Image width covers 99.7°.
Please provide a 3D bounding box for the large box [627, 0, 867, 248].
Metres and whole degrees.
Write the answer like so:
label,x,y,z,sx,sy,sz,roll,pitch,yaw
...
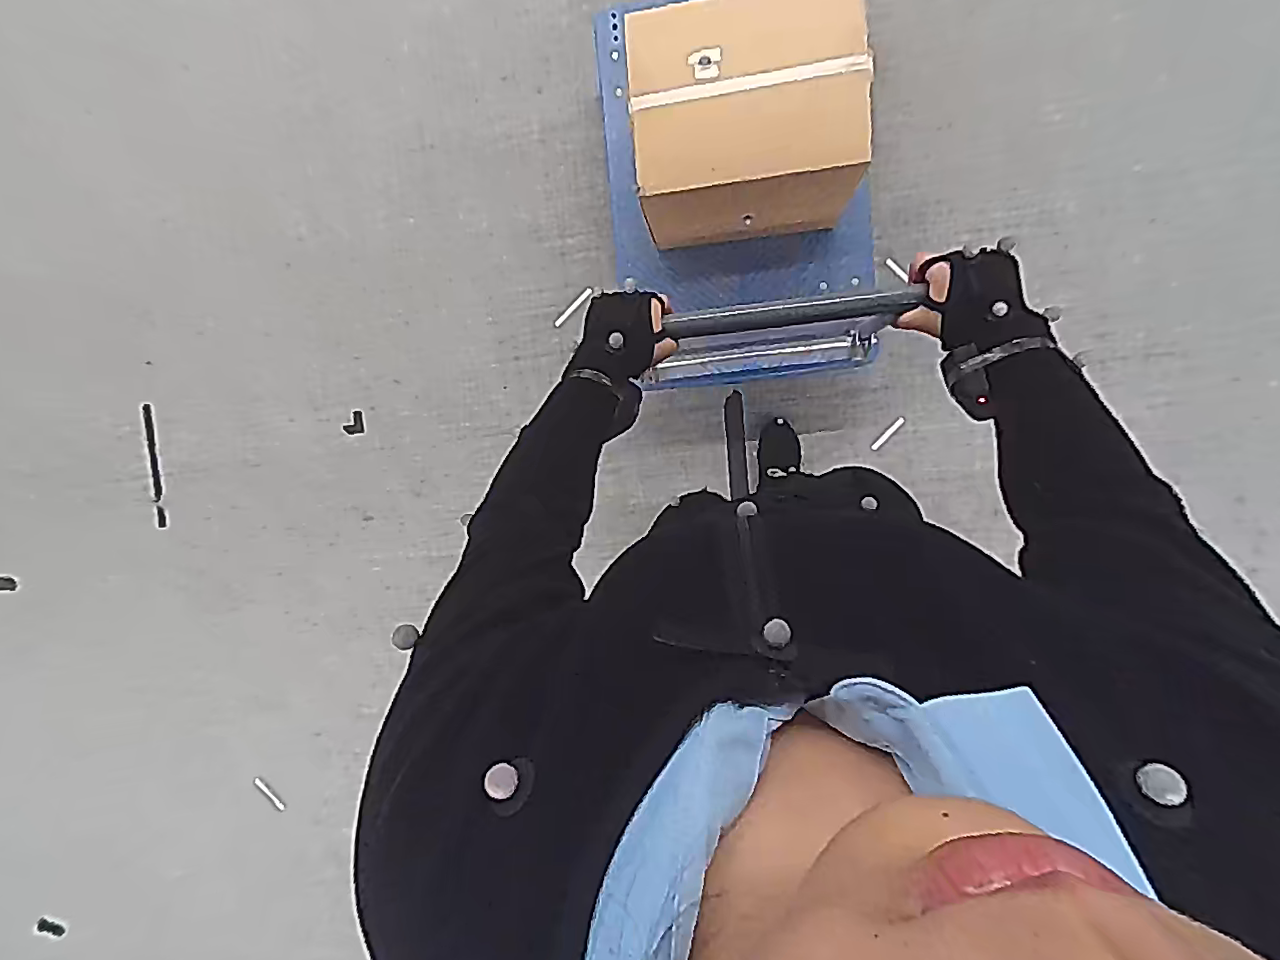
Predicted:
label,x,y,z,sx,sy,sz,roll,pitch,yaw
large box,0.210,-0.703,1.102,0.408,0.320,0.320,-4,94,10
